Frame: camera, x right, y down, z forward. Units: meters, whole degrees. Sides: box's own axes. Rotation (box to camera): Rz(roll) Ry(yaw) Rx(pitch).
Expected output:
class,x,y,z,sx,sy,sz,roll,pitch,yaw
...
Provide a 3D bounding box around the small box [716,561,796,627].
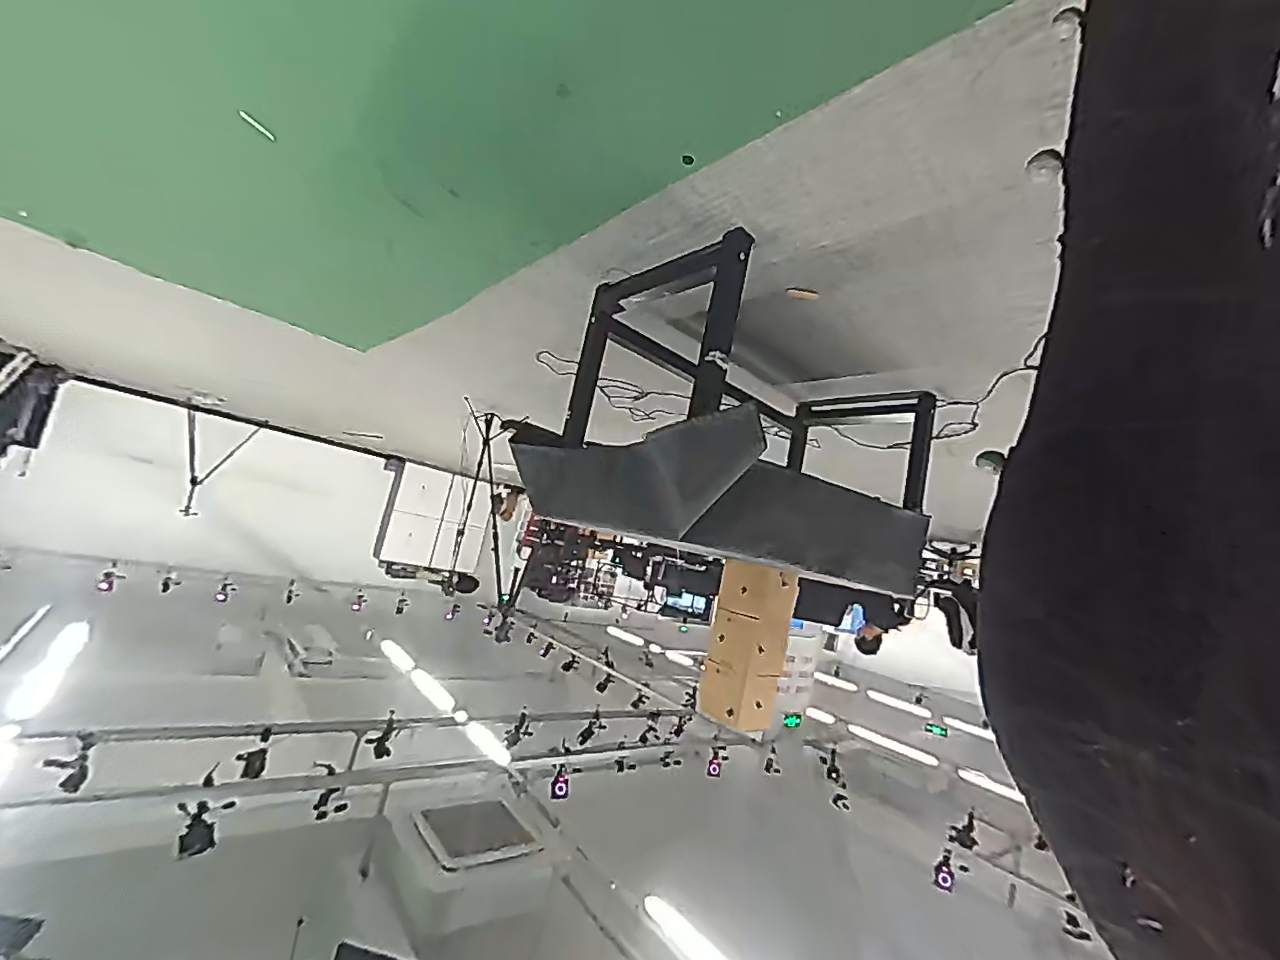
class,x,y,z,sx,sy,sz,roll,pitch,yaw
small box,0.369,0.355,1.706,0.168,0.176,0.179,19,170,-40

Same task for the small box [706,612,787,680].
class,x,y,z,sx,sy,sz,roll,pitch,yaw
small box,0.334,0.513,1.689,0.179,0.176,0.168,18,171,-37
